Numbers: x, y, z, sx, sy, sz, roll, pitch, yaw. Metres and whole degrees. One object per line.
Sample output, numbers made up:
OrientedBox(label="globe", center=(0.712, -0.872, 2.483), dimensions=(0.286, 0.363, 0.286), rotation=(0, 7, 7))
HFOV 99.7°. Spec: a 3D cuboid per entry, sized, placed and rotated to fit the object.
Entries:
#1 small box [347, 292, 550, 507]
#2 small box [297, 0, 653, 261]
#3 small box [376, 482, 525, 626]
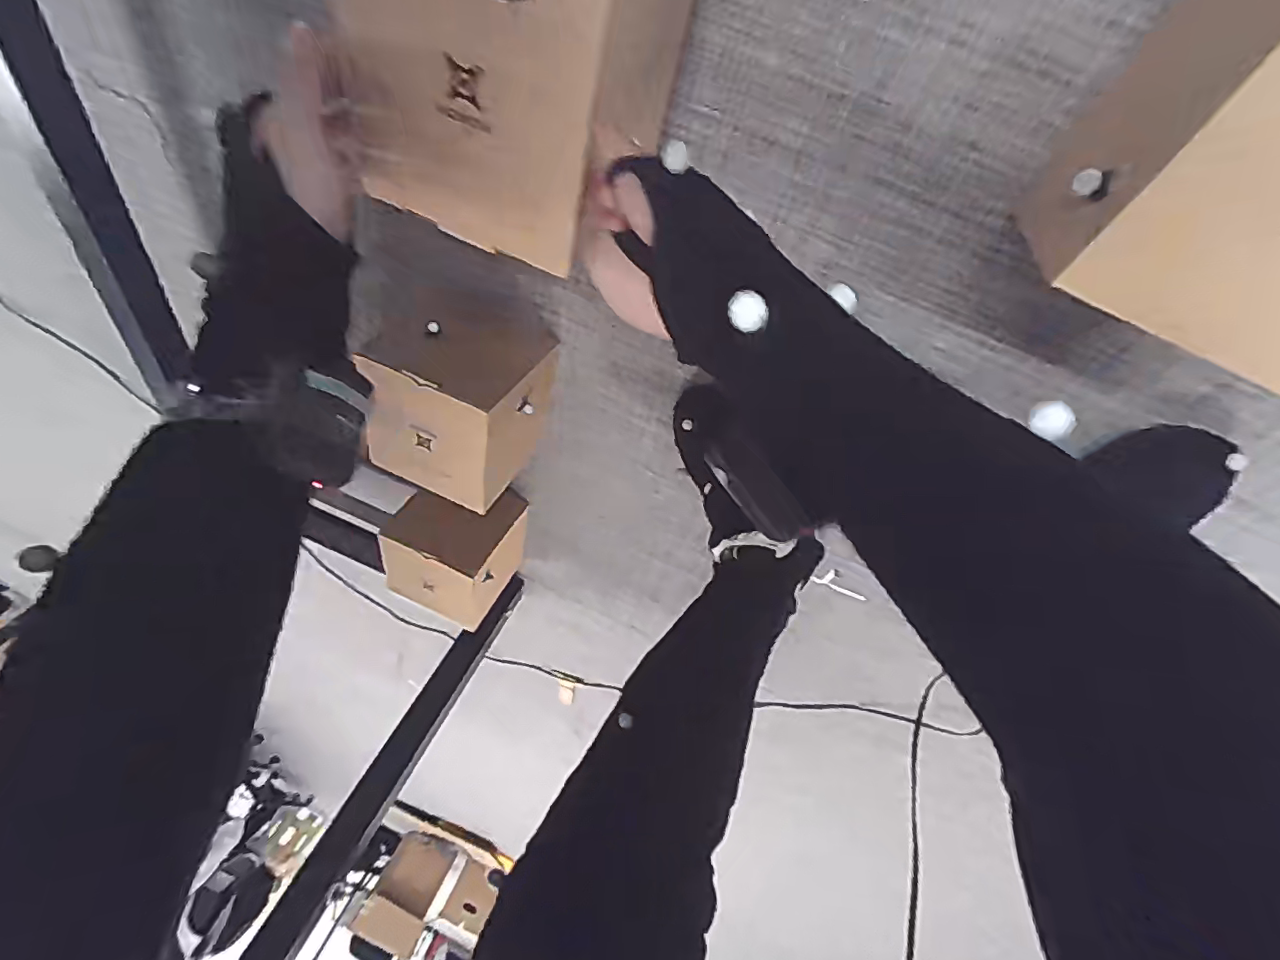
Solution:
OrientedBox(label="small box", center=(-0.225, -0.105, 0.675), dimensions=(0.168, 0.176, 0.179), rotation=(24, 137, 5))
OrientedBox(label="small box", center=(-0.099, -0.294, 0.372), dimensions=(0.168, 0.176, 0.179), rotation=(22, 141, 2))
OrientedBox(label="small box", center=(-0.306, 0.107, 0.908), dimensions=(0.168, 0.176, 0.179), rotation=(22, 135, 6))
